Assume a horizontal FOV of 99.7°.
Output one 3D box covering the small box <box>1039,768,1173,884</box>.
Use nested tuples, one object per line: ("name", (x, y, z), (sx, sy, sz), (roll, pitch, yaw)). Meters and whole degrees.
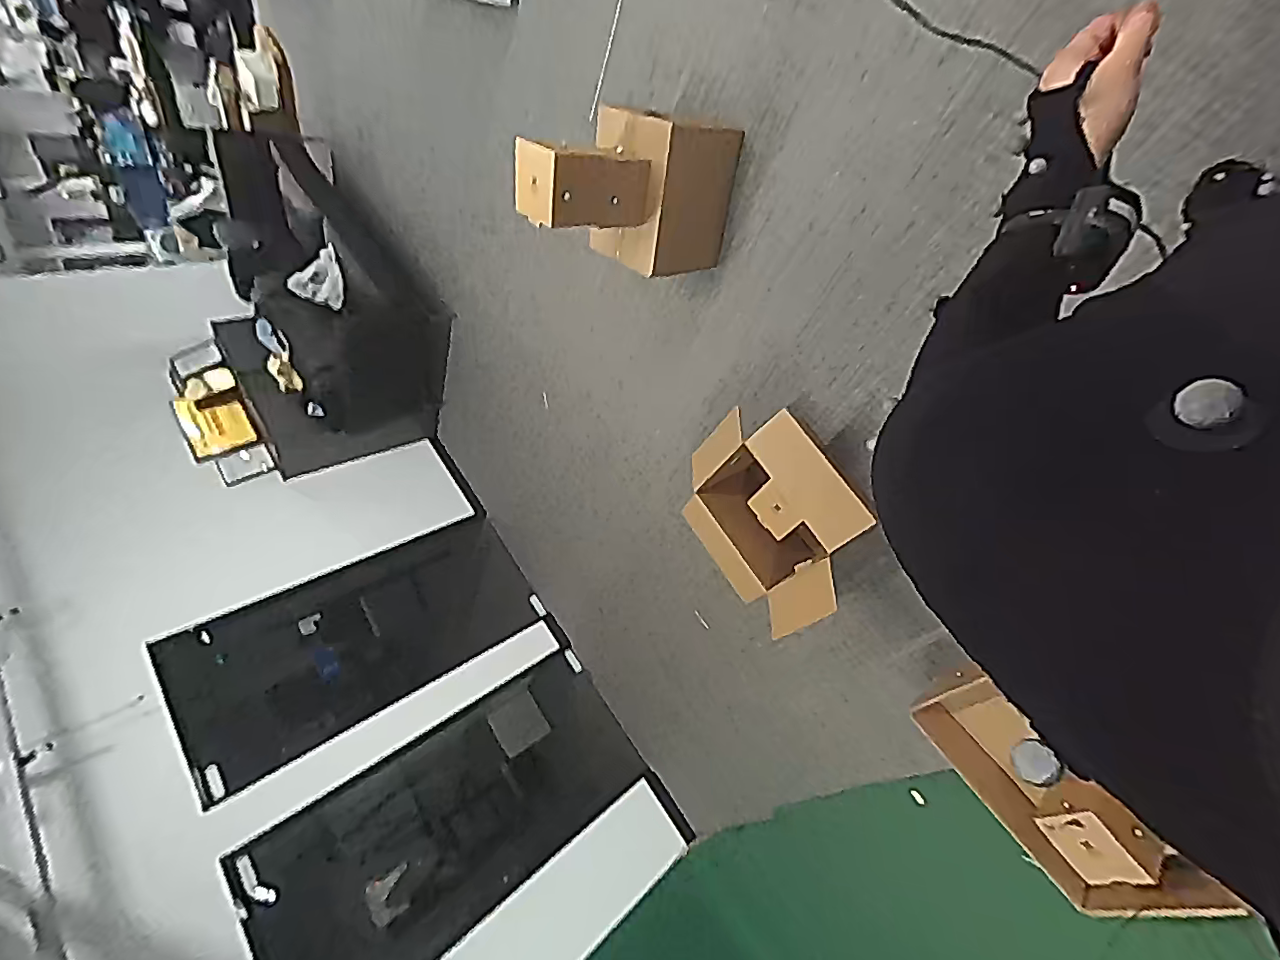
("small box", (1.161, 0.859, 1.346), (0.179, 0.176, 0.168), (52, 143, 19))

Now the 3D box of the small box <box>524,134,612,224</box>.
("small box", (-0.190, -0.802, 1.439), (0.168, 0.176, 0.179), (39, 136, 31))

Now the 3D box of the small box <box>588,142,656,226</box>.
("small box", (-0.073, -0.846, 1.544), (0.168, 0.176, 0.179), (39, 136, 31))
